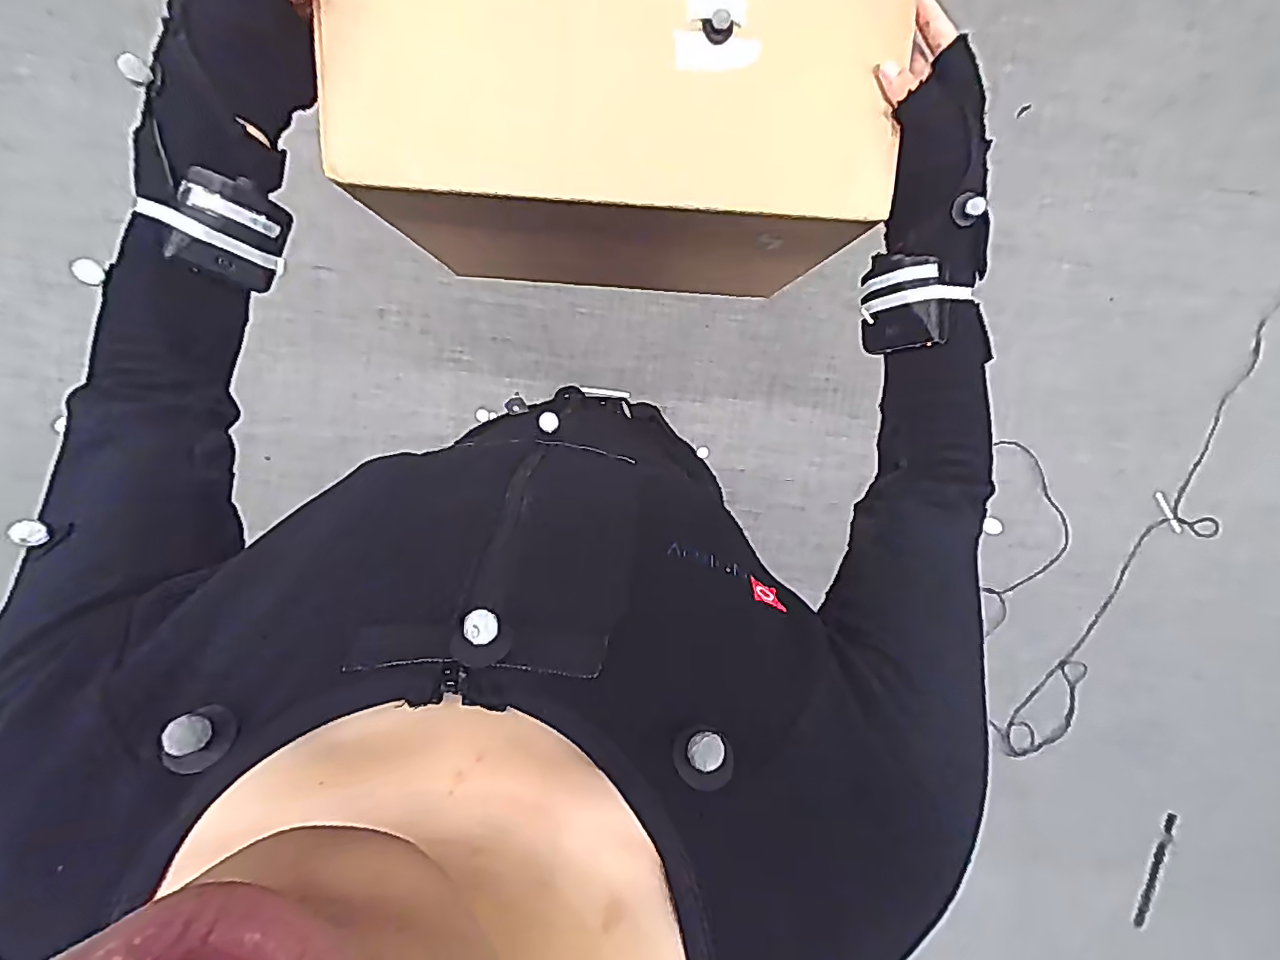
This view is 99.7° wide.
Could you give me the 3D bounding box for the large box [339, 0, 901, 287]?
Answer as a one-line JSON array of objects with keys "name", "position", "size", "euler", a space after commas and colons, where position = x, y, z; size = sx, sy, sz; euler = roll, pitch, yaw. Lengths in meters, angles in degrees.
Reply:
[{"name": "large box", "position": [-0.017, -0.384, 0.525], "size": [0.408, 0.320, 0.320], "euler": [2, 99, -3]}]
